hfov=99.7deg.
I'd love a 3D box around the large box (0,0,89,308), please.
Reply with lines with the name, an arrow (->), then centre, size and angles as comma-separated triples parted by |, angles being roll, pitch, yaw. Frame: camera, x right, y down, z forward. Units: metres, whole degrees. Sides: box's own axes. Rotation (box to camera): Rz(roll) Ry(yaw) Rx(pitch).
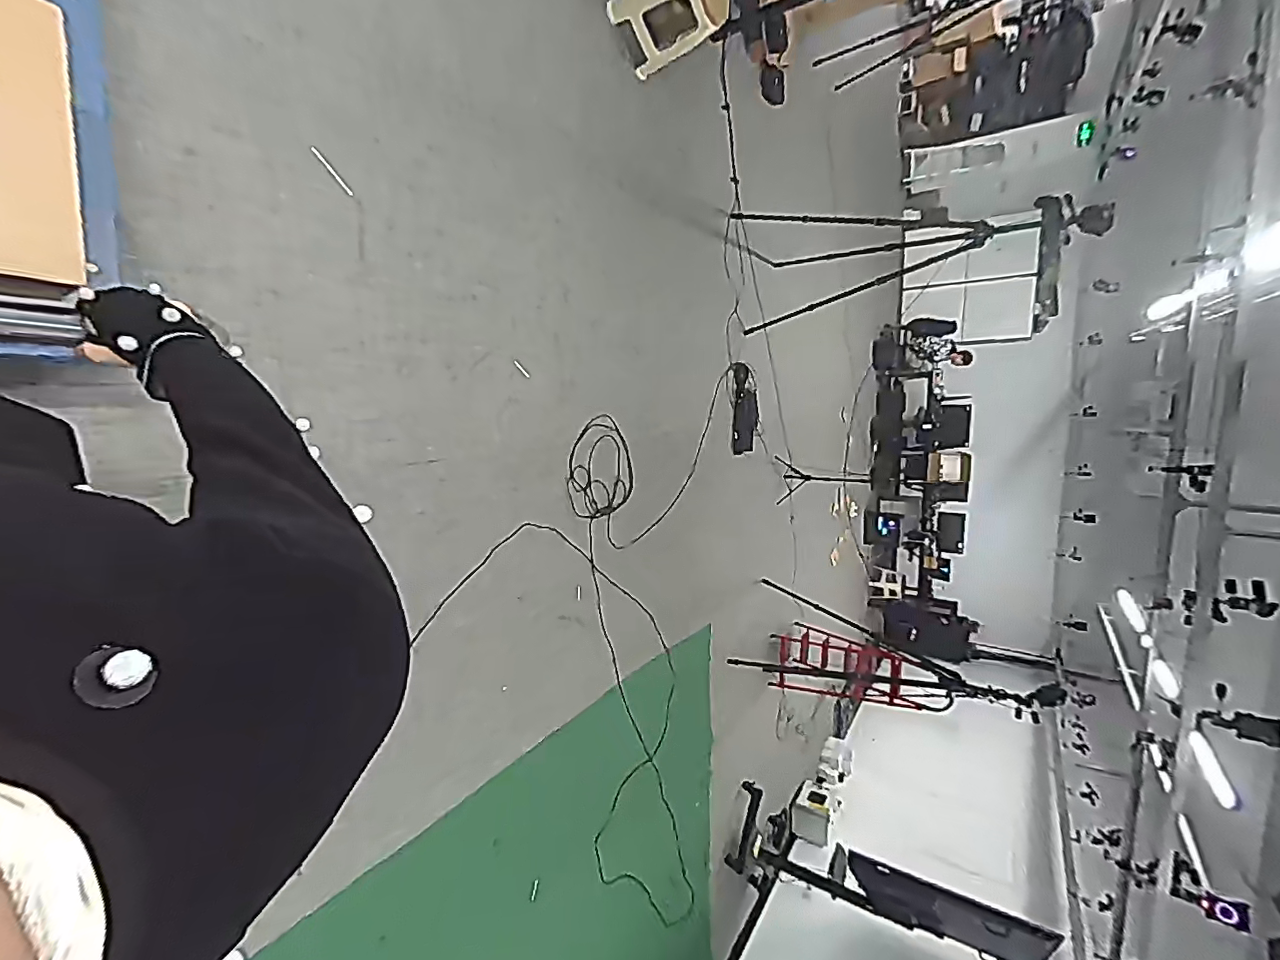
large box -> -1.073, -0.491, 0.784 | 0.320, 0.320, 0.408 | -9, 100, -55
